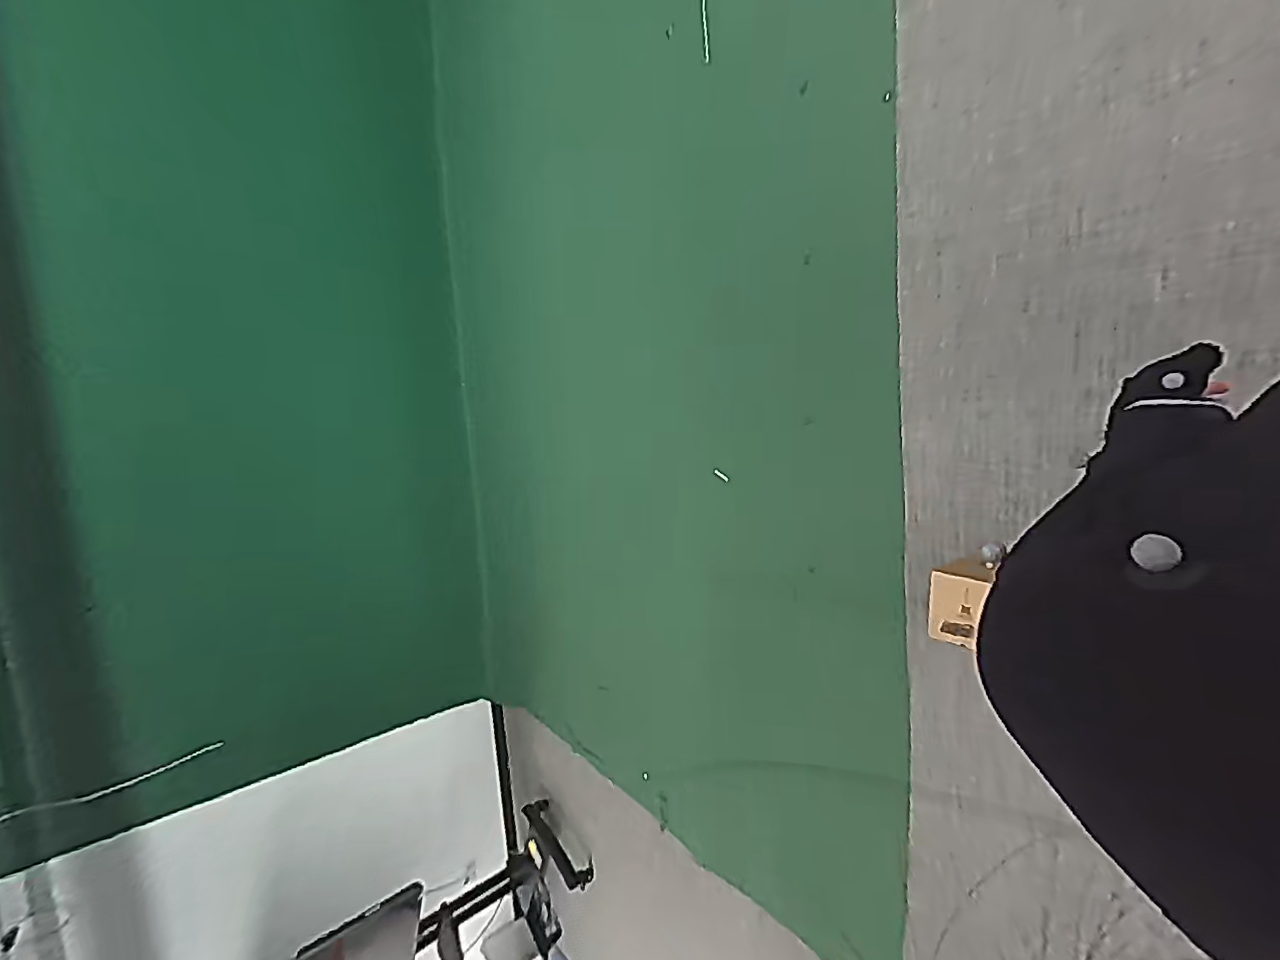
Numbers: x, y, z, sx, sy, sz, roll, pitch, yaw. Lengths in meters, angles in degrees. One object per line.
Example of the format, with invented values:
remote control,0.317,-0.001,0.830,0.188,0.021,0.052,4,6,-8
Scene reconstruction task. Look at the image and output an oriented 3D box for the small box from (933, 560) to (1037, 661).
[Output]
small box,0.841,0.309,1.318,0.168,0.176,0.179,9,102,51
